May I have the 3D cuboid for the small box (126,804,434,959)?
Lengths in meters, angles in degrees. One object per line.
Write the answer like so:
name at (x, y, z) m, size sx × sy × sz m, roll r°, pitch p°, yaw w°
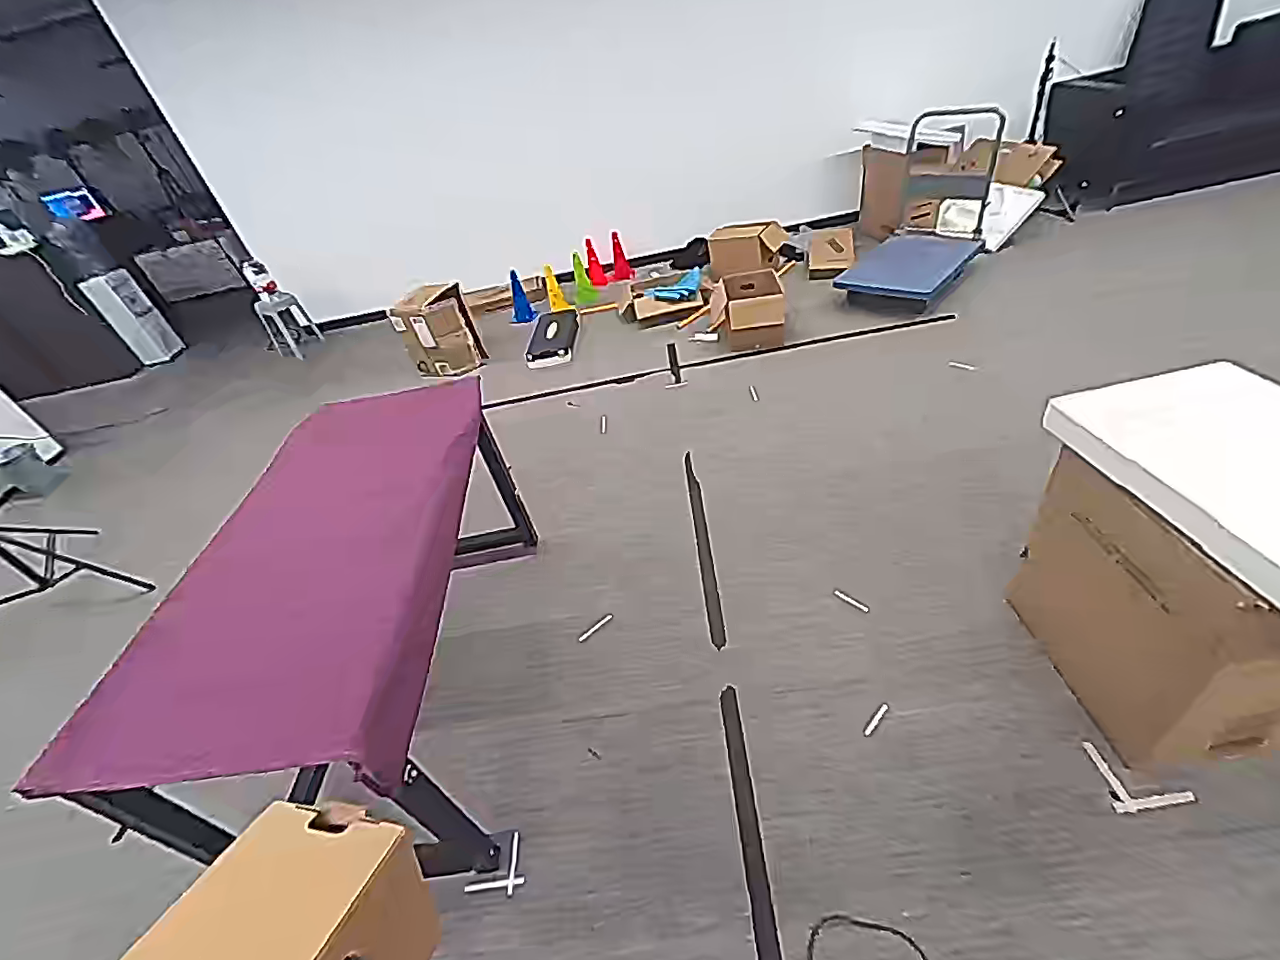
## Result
small box at (-0.316, 0.446, 0.496) m, size 0.168 × 0.176 × 0.179 m, roll 0°, pitch 20°, yaw 15°
